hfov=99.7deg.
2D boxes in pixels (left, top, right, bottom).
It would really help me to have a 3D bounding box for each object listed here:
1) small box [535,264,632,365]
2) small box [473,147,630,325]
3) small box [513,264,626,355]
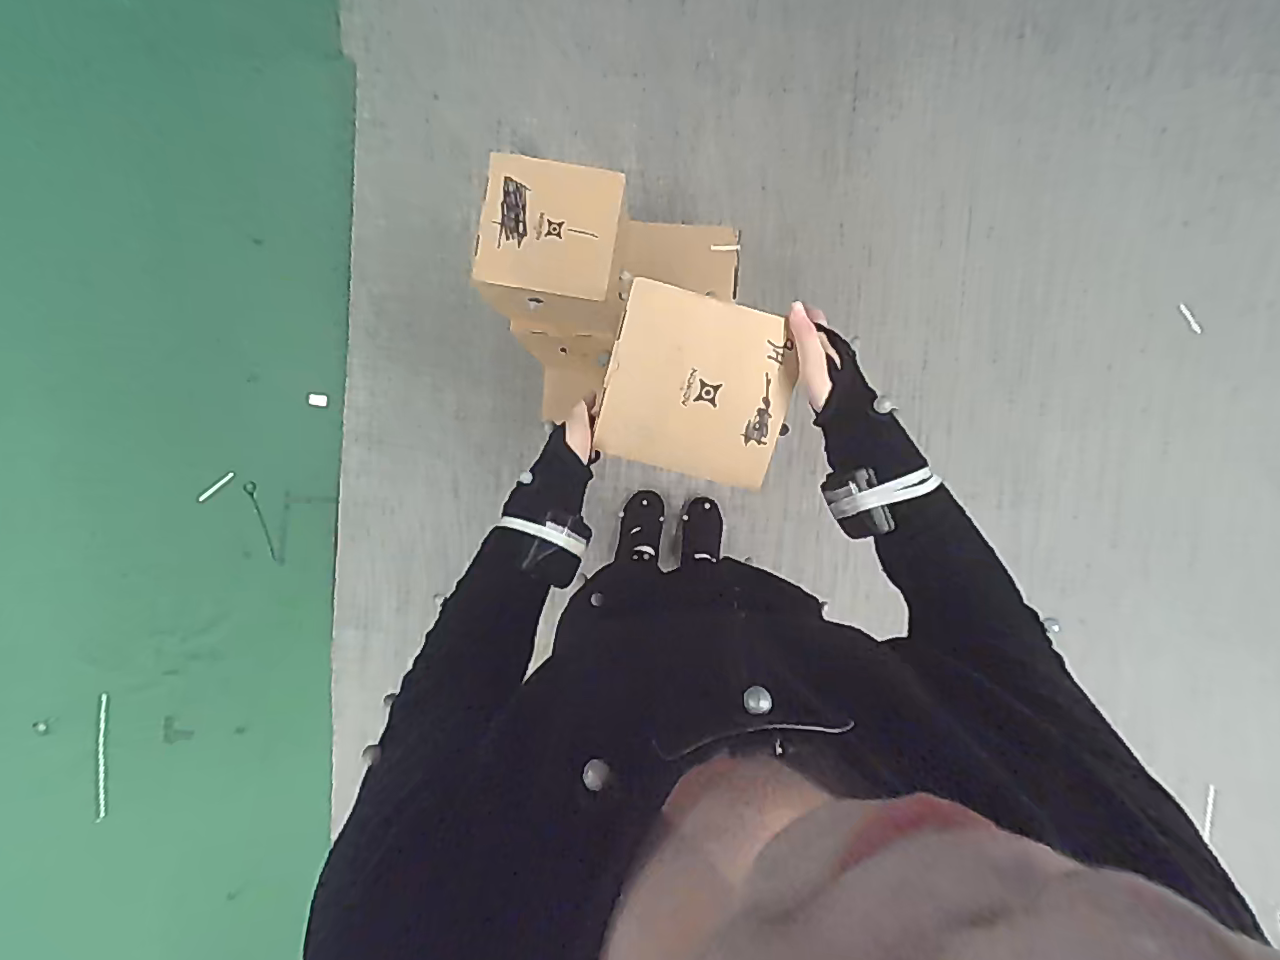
[{"bbox_3d":[-0.107,-0.330,1.090,0.179,0.176,0.168,3,91,1],"label":"small box"},{"bbox_3d":[-0.113,-0.329,0.763,0.179,0.176,0.168,10,92,-1],"label":"small box"},{"bbox_3d":[-0.112,-0.325,0.927,0.168,0.176,0.179,5,92,0],"label":"small box"}]
